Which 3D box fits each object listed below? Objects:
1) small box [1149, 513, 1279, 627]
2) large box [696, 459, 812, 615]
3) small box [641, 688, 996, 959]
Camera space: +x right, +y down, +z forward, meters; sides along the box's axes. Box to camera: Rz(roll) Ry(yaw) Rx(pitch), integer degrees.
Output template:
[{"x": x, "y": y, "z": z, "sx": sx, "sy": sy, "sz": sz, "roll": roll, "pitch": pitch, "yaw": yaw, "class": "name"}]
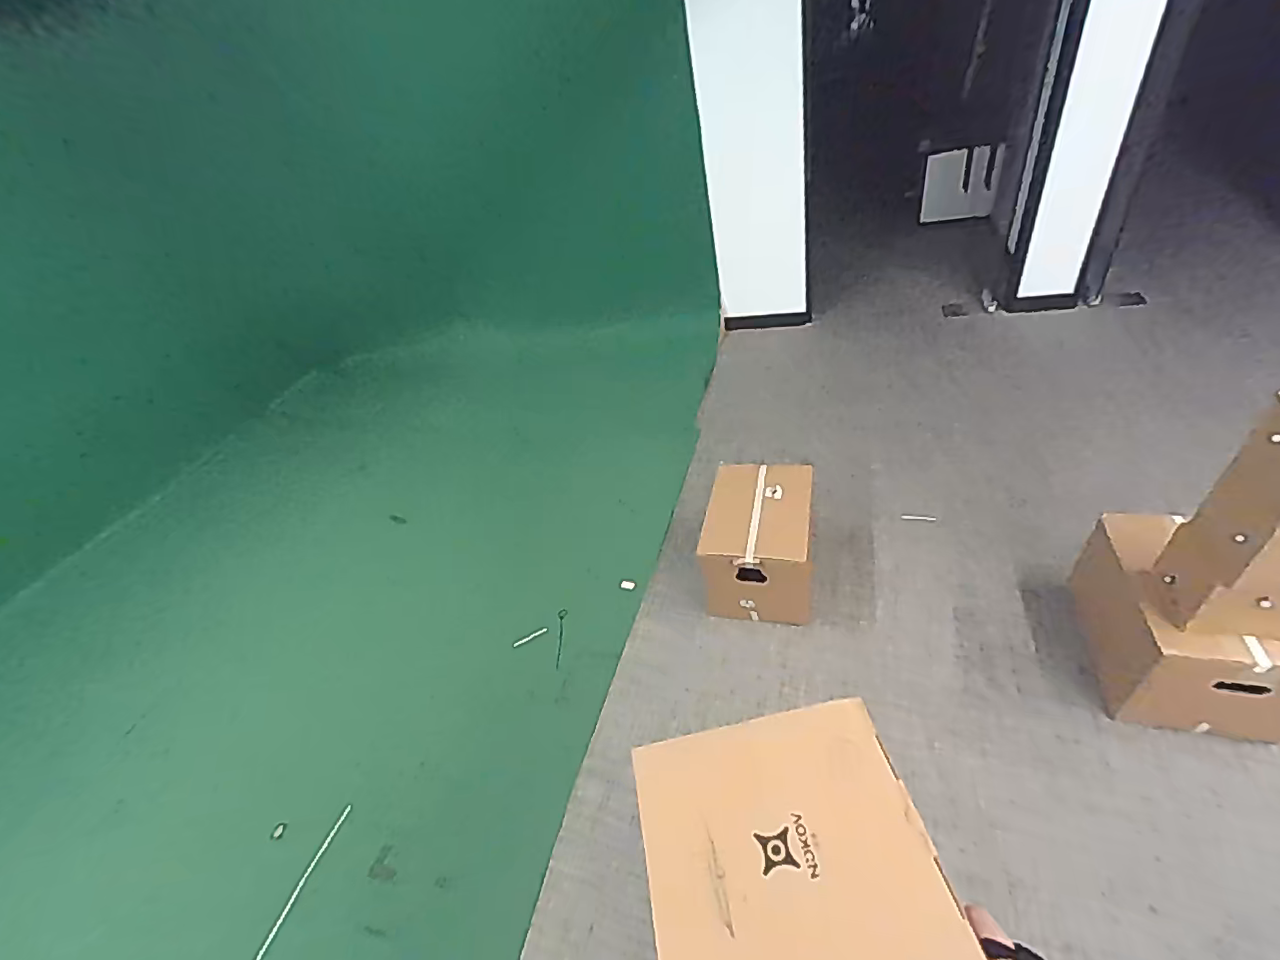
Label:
[{"x": 1.216, "y": 0.186, "z": 1.113, "sx": 0.179, "sy": 0.176, "sz": 0.168, "roll": -1, "pitch": 44, "yaw": 19, "class": "small box"}, {"x": 0.388, "y": 0.179, "z": 1.754, "sx": 0.320, "sy": 0.320, "sz": 0.408, "roll": 1, "pitch": 43, "yaw": 20, "class": "large box"}, {"x": 0.110, "y": 0.283, "z": 0.394, "sx": 0.179, "sy": 0.176, "sz": 0.168, "roll": -14, "pitch": 40, "yaw": 2, "class": "small box"}]
